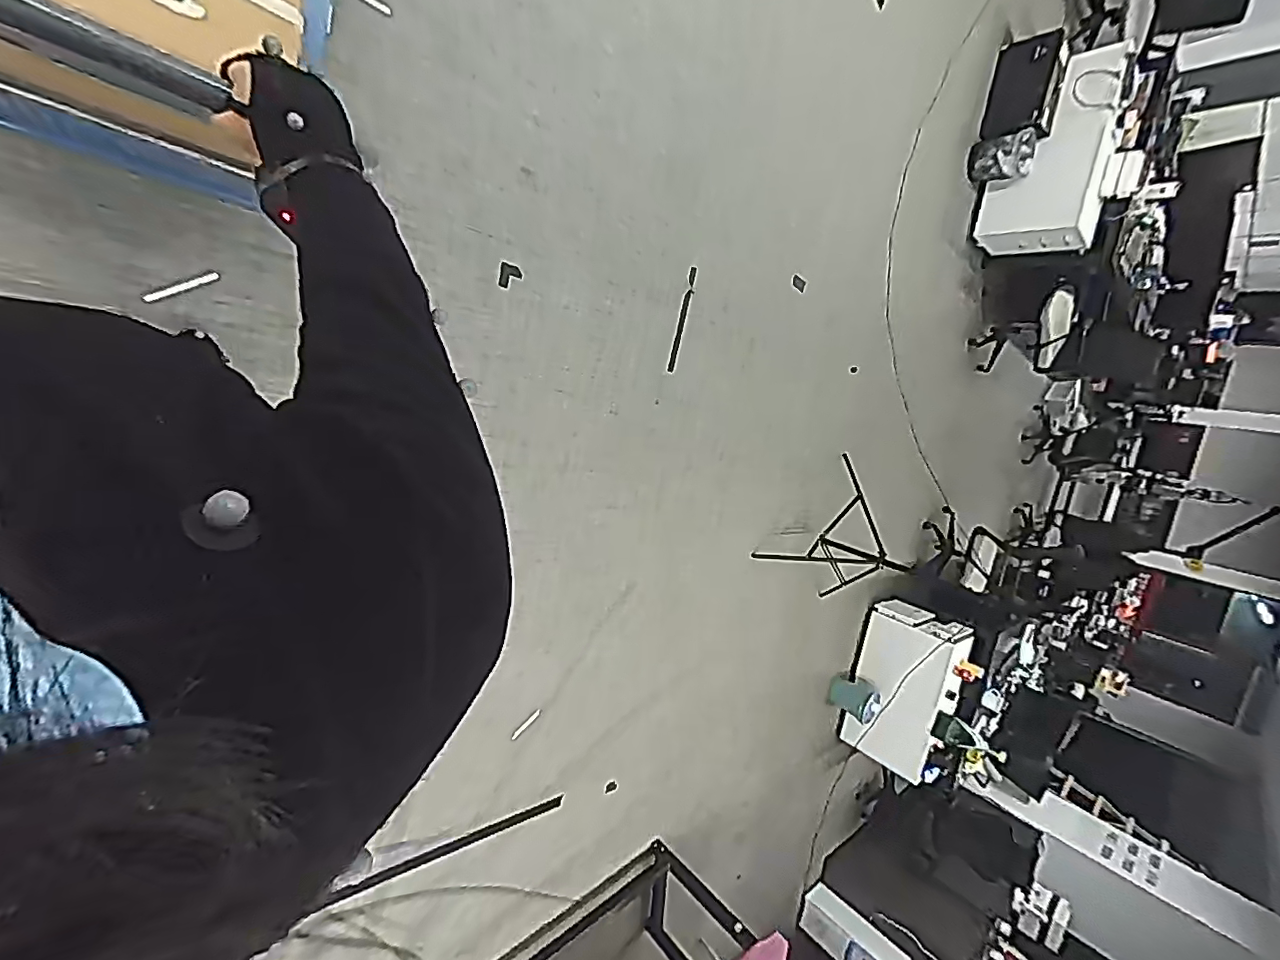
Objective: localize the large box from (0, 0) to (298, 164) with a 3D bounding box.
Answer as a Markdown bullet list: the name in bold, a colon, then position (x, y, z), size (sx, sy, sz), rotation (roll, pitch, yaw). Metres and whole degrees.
- **large box**: position (-0.751, -0.714, 0.764), size (0.408, 0.320, 0.320), rotation (4, 102, -44)
